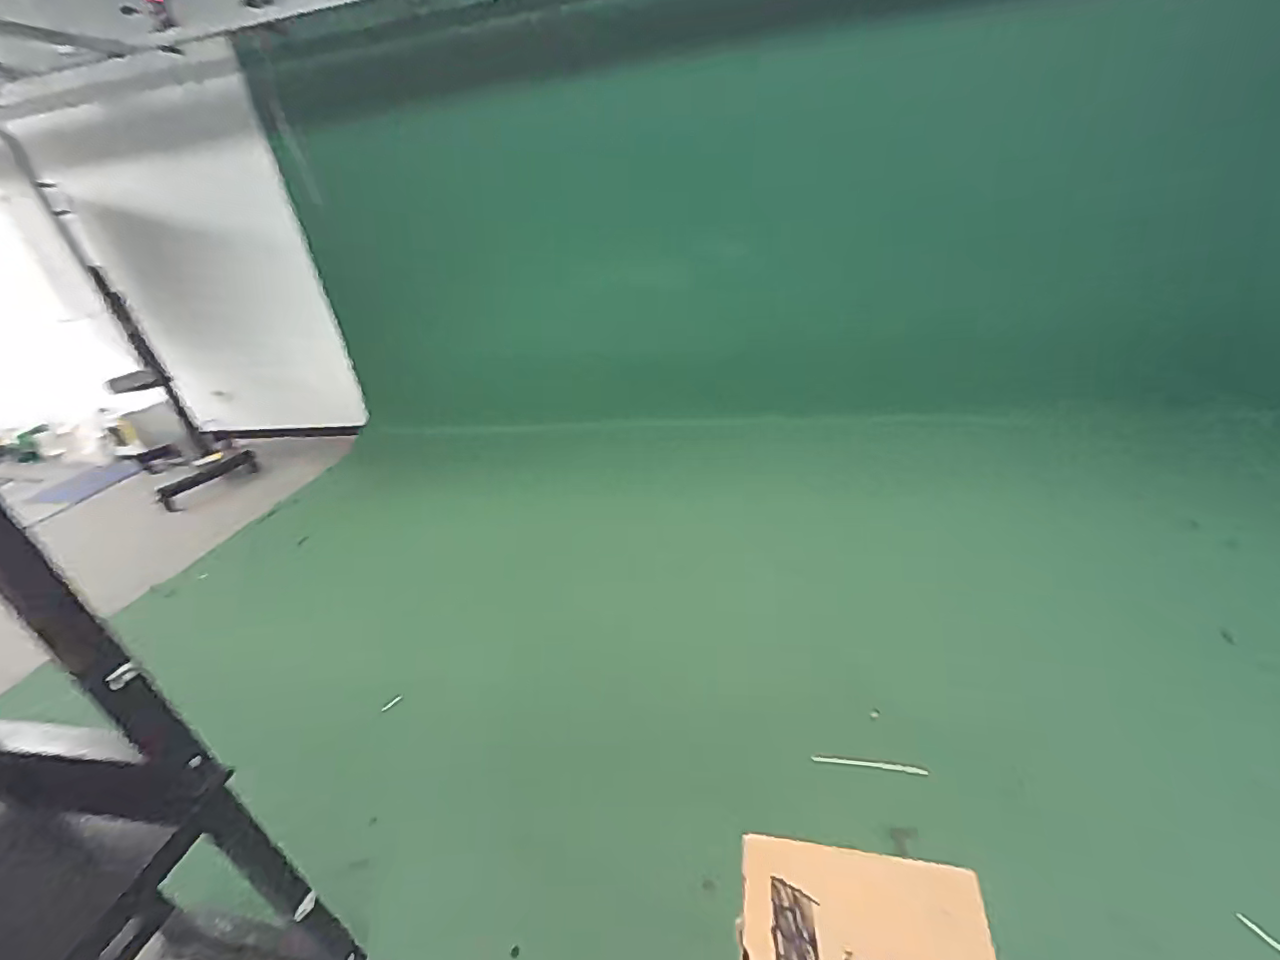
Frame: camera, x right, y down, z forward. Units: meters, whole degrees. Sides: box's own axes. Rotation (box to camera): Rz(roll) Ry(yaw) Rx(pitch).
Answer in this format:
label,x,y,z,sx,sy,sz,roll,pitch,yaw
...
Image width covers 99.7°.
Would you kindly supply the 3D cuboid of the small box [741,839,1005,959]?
label,x,y,z,sx,sy,sz,roll,pitch,yaw
small box,0.167,0.407,0.407,0.179,0.176,0.168,1,39,15
